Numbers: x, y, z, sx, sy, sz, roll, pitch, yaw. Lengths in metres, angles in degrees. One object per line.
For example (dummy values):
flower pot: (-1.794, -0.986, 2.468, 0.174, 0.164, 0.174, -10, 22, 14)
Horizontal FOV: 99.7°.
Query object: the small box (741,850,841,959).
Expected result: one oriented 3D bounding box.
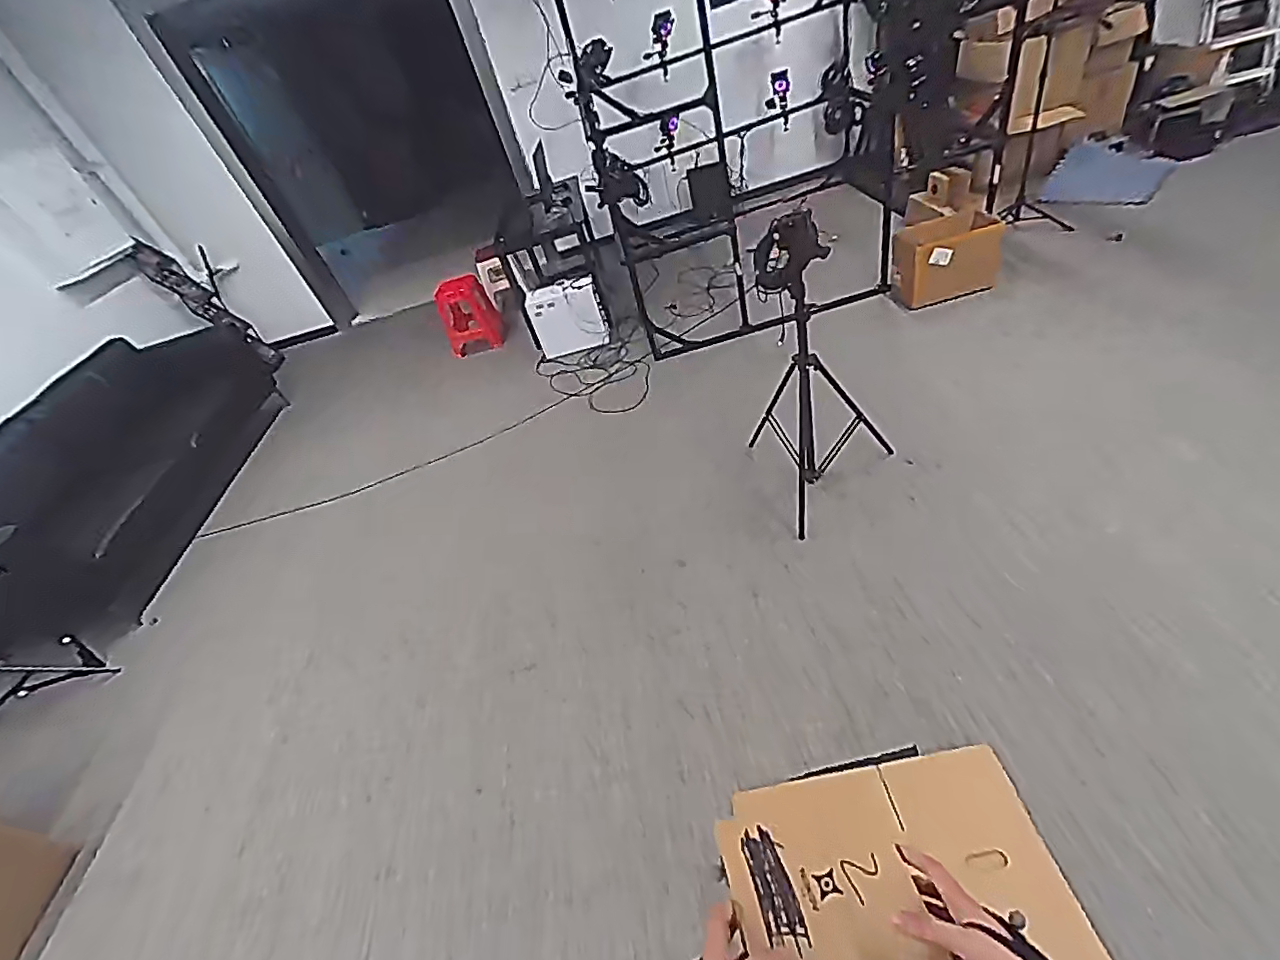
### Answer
small box: (0.340, 0.964, 1.221, 0.179, 0.176, 0.168, -16, 41, 6)
